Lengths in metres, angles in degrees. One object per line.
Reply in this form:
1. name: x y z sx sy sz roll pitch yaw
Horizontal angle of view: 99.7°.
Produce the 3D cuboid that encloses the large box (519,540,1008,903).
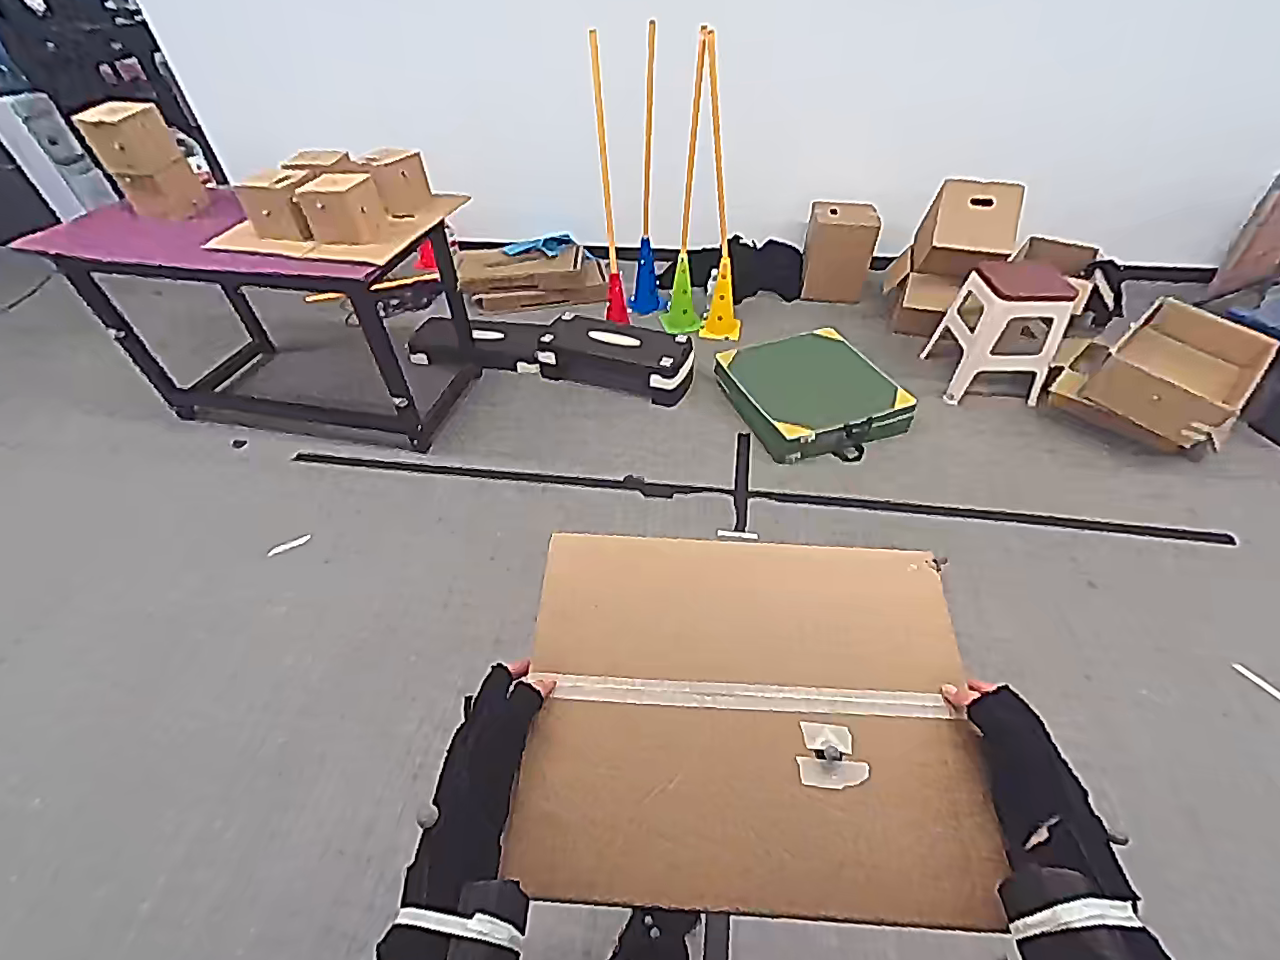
1. large box: 0.101 0.282 0.637 0.408 0.320 0.320 3 58 1
